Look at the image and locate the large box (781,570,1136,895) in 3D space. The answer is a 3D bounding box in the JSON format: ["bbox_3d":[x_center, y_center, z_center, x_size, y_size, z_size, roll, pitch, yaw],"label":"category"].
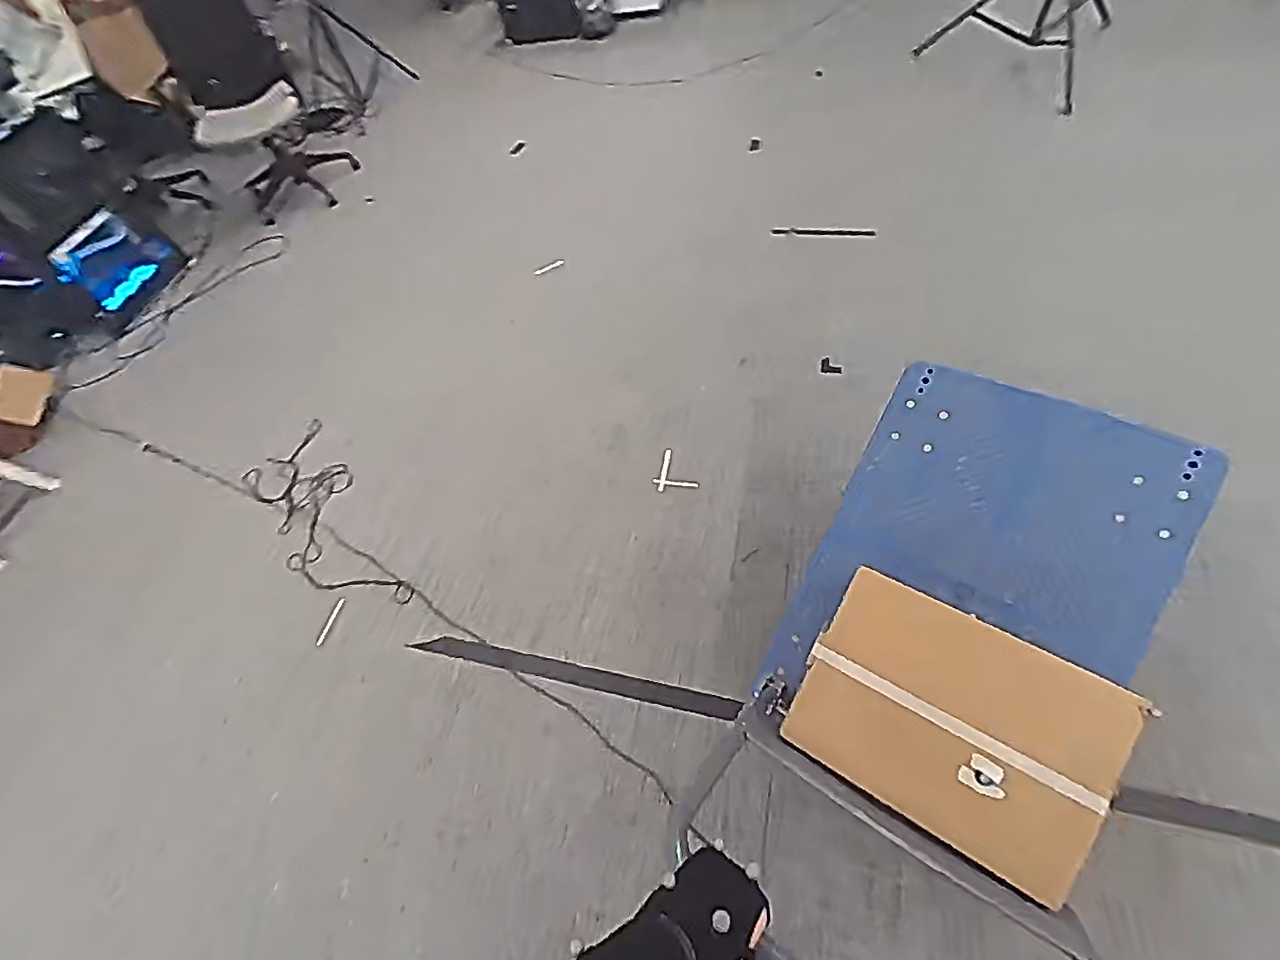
[{"bbox_3d":[0.512,0.391,0.961,0.408,0.320,0.320,26,89,24],"label":"large box"}]
